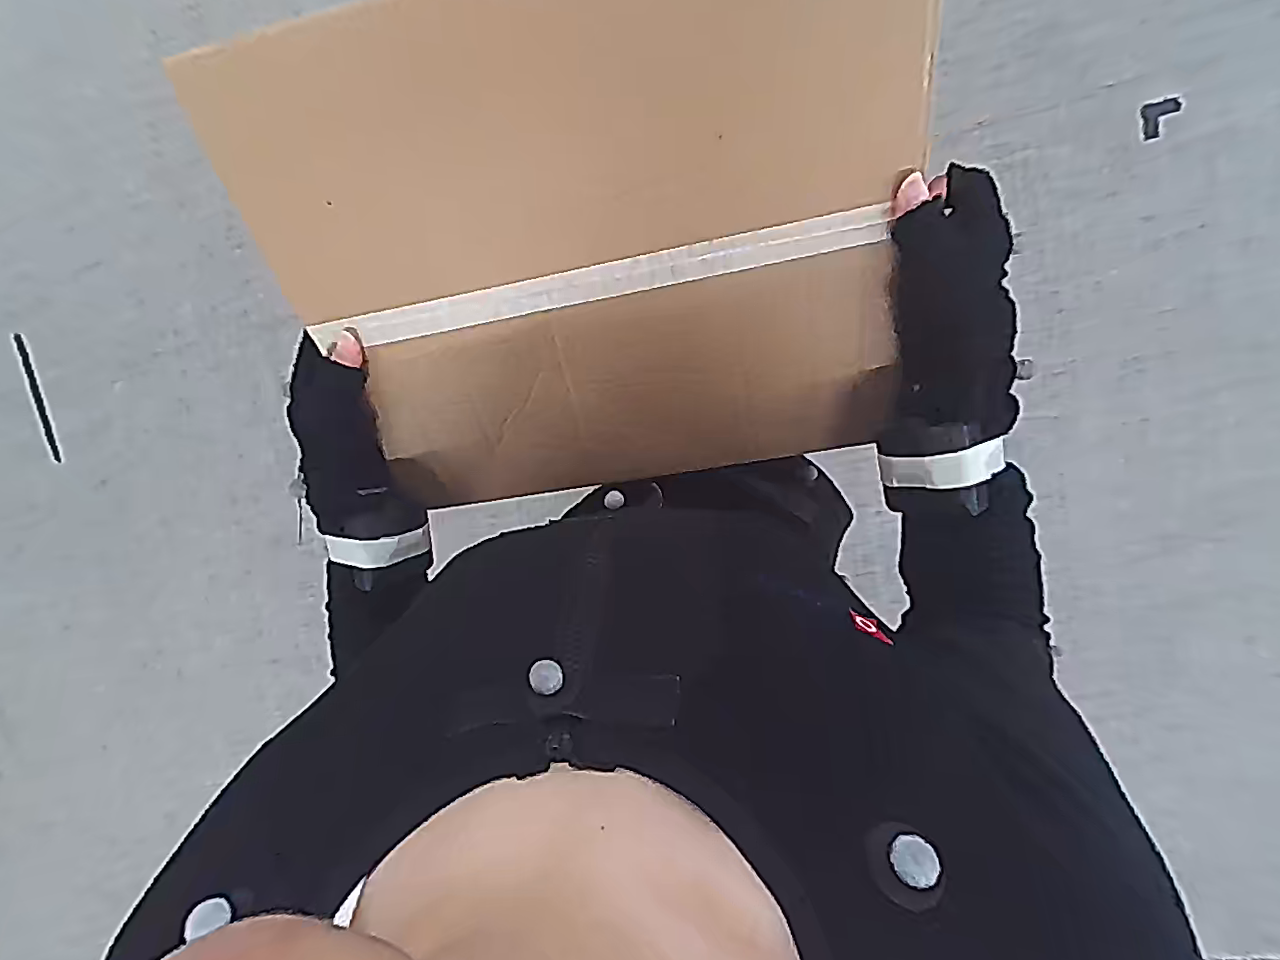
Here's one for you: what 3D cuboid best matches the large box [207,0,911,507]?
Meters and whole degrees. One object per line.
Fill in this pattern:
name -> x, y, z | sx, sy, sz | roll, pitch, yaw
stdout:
large box -> -0.023, -0.216, 0.487 | 0.408, 0.320, 0.320 | -9, 124, 9
